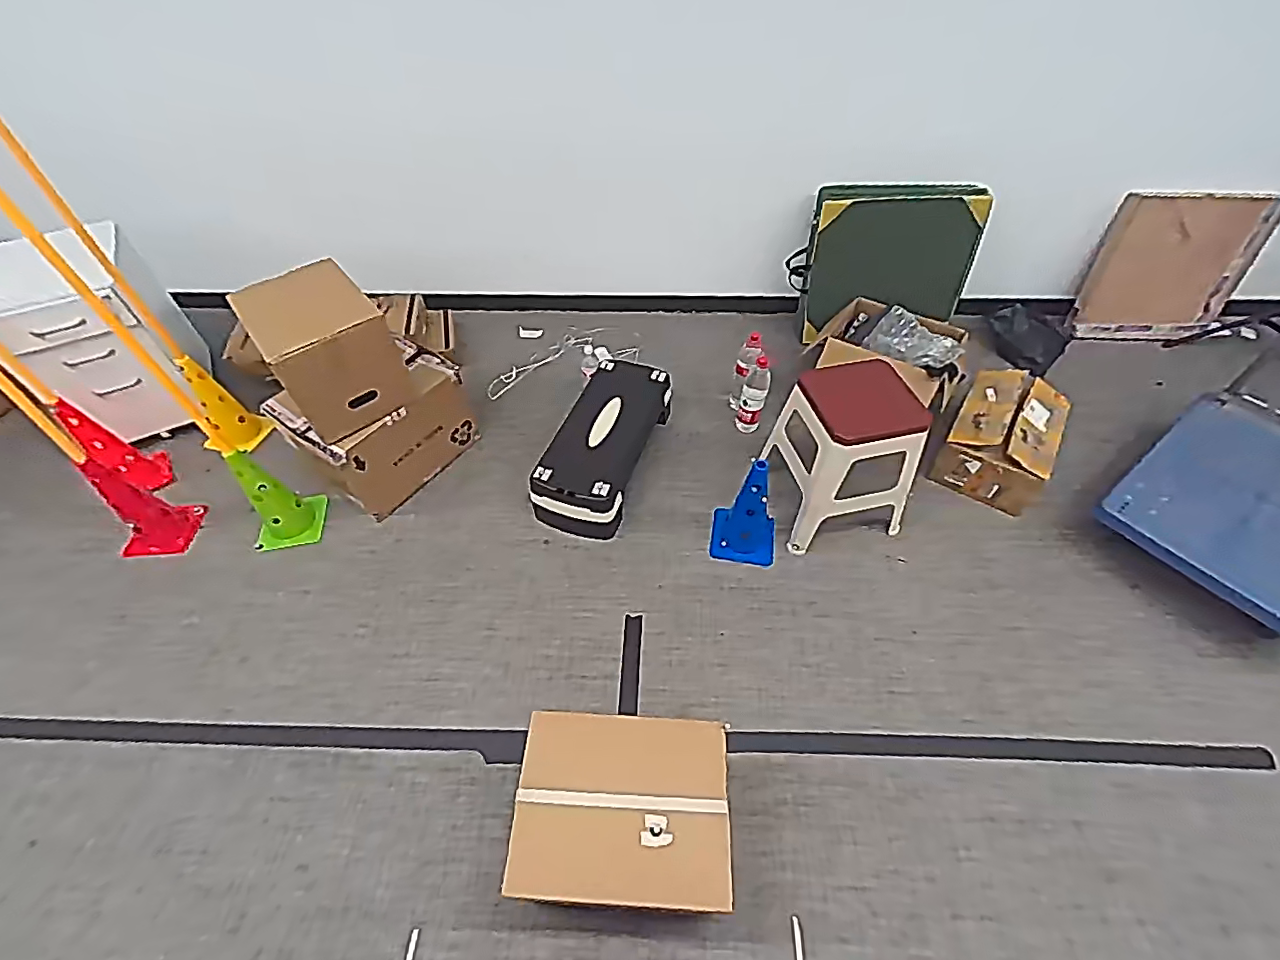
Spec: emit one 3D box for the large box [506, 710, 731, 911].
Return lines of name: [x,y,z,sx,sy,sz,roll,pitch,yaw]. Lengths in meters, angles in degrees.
large box: [-0.036,0.704,1.147,0.408,0.320,0.320,3,51,1]
